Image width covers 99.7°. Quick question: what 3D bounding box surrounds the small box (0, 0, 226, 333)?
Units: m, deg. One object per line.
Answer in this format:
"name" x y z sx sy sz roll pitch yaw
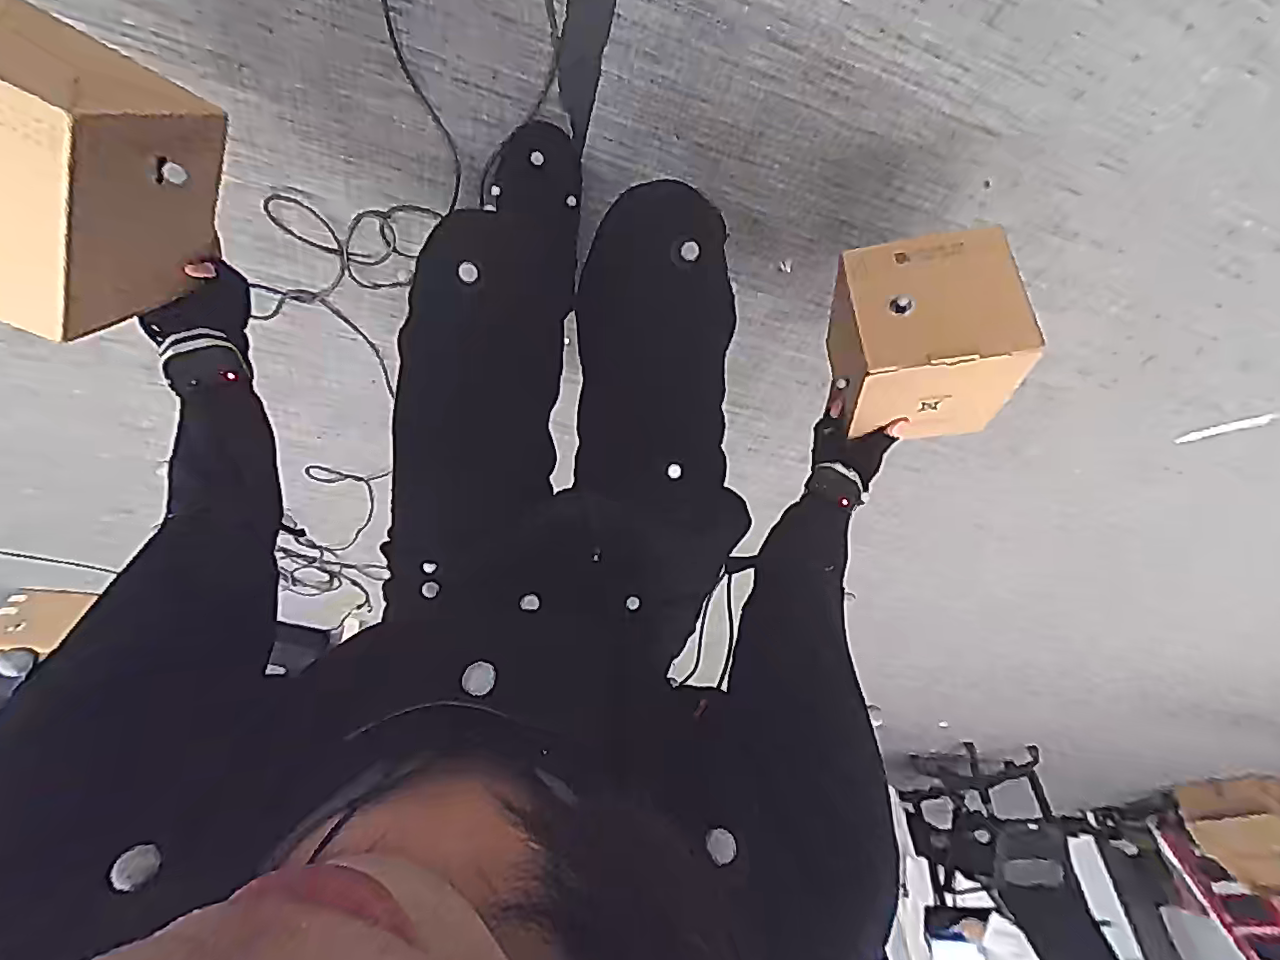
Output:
"small box" -0.450 -0.241 0.396 0.168 0.179 0.176 25 117 -19

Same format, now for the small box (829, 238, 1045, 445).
"small box" 0.327 -0.161 0.639 0.168 0.176 0.179 -5 158 11
